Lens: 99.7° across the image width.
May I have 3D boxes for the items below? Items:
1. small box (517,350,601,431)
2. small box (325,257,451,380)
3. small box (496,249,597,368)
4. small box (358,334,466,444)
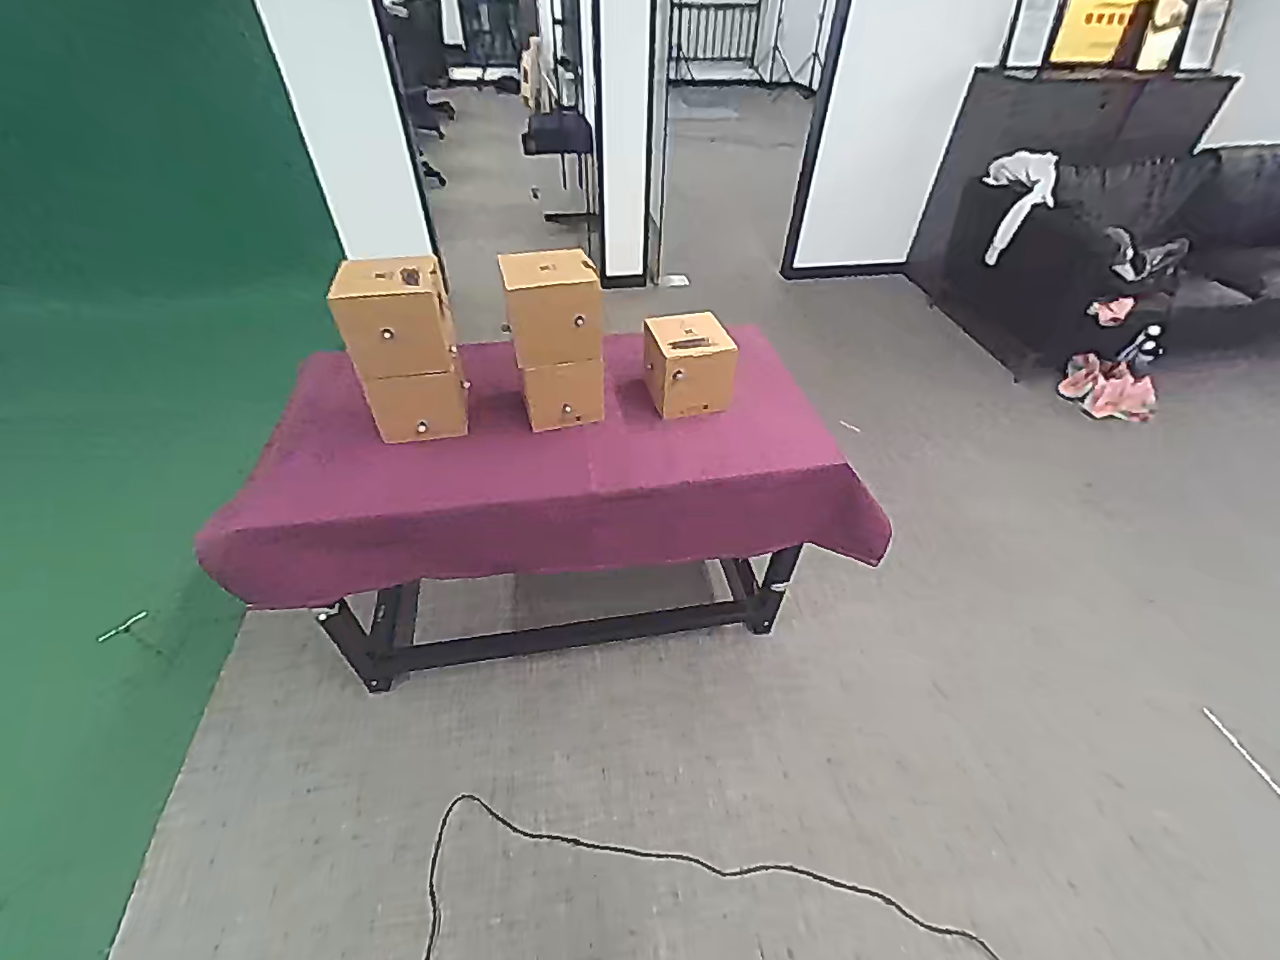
[{"bbox_3d":[-0.189,-0.237,1.222,0.168,0.176,0.179,-12,47,-13],"label":"small box"},{"bbox_3d":[-0.476,-0.314,1.056,0.179,0.176,0.168,-8,46,-9],"label":"small box"},{"bbox_3d":[-0.187,-0.350,1.104,0.179,0.176,0.168,-11,45,-12],"label":"small box"},{"bbox_3d":[-0.481,-0.198,1.172,0.179,0.176,0.168,-8,45,-10],"label":"small box"}]
